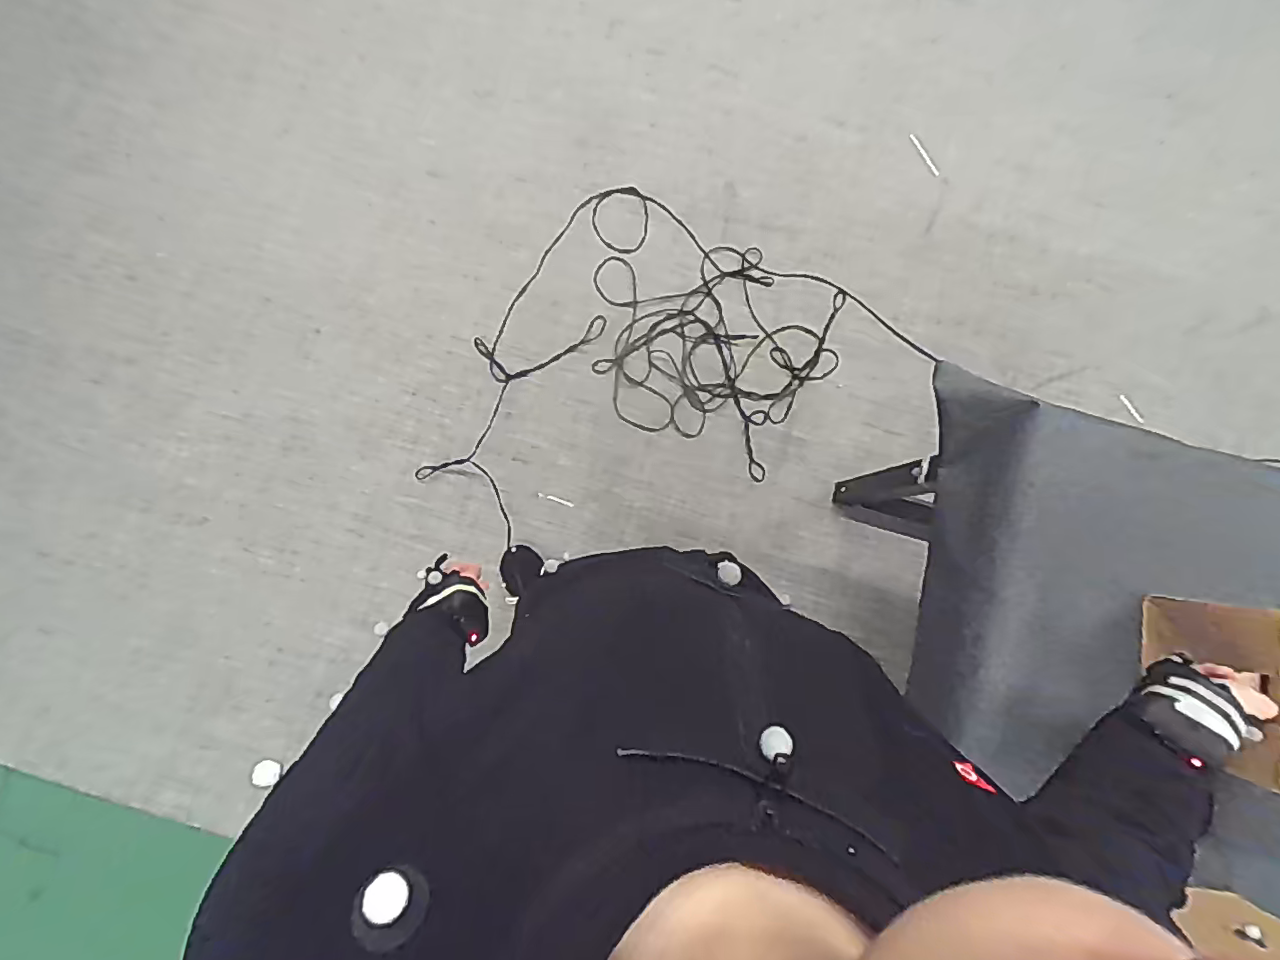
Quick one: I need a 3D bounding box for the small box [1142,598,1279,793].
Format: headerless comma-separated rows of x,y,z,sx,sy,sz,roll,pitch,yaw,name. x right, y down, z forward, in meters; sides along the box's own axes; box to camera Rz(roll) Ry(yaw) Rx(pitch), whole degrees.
0.680,0.220,0.554,0.179,0.176,0.168,7,85,7,small box
